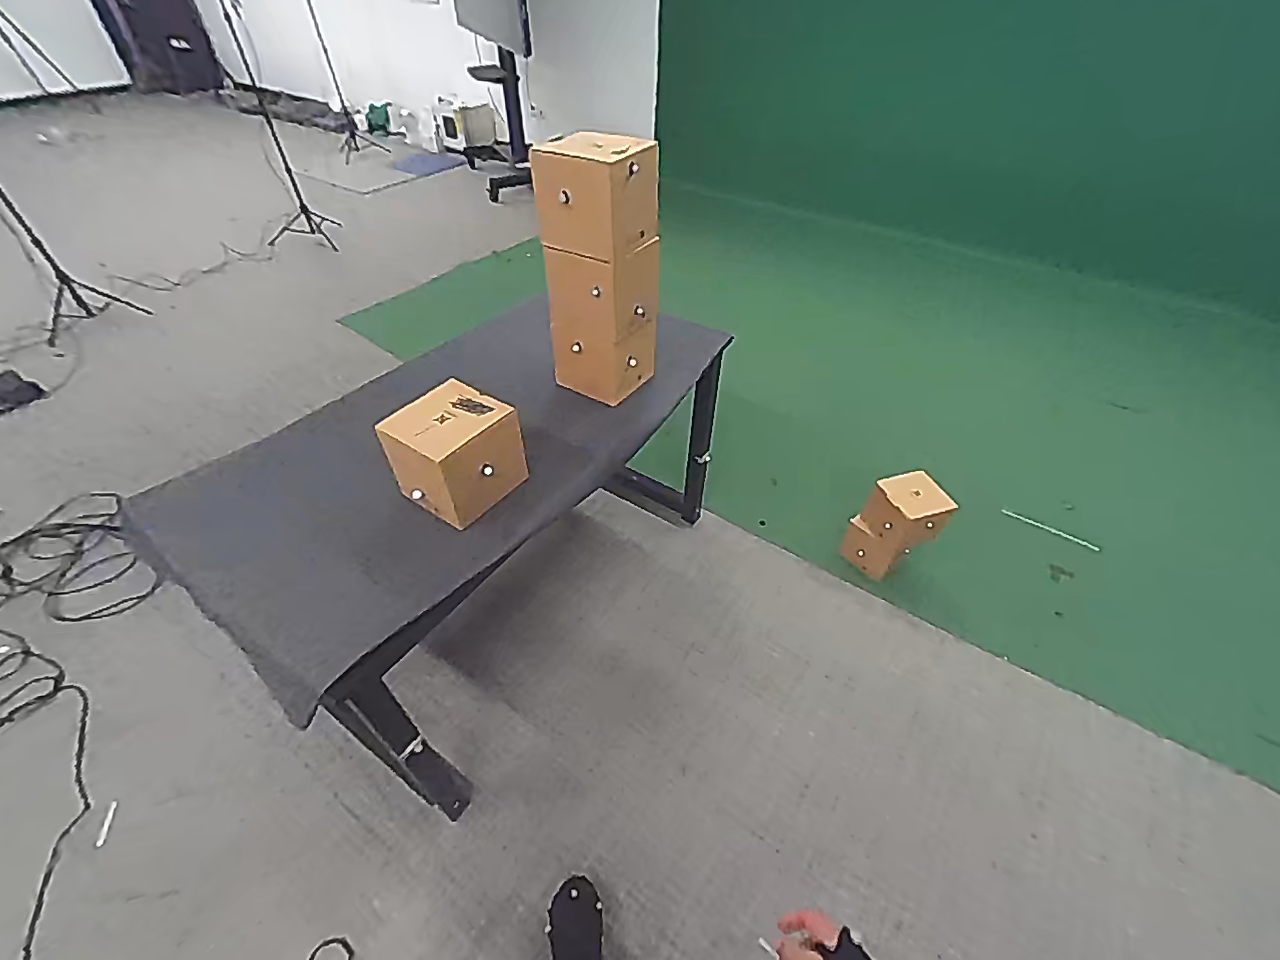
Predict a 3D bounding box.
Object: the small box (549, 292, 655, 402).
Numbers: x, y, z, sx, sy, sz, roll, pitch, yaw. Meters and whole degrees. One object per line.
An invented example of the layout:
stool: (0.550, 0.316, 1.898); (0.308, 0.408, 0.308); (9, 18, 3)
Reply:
small box: (-0.082, -0.301, 1.241); (0.179, 0.176, 0.168); (25, 49, 24)

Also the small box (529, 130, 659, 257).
small box: (-0.080, -0.535, 1.010); (0.179, 0.176, 0.168); (22, 49, 22)

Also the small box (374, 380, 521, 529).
small box: (-0.333, -0.047, 0.975); (0.168, 0.176, 0.179); (26, 50, 24)

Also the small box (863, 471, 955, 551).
small box: (0.817, 0.099, 1.671); (0.179, 0.176, 0.168); (-12, 48, -14)

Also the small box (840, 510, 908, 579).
small box: (0.791, 0.198, 1.802); (0.179, 0.176, 0.168); (-29, 53, -28)
